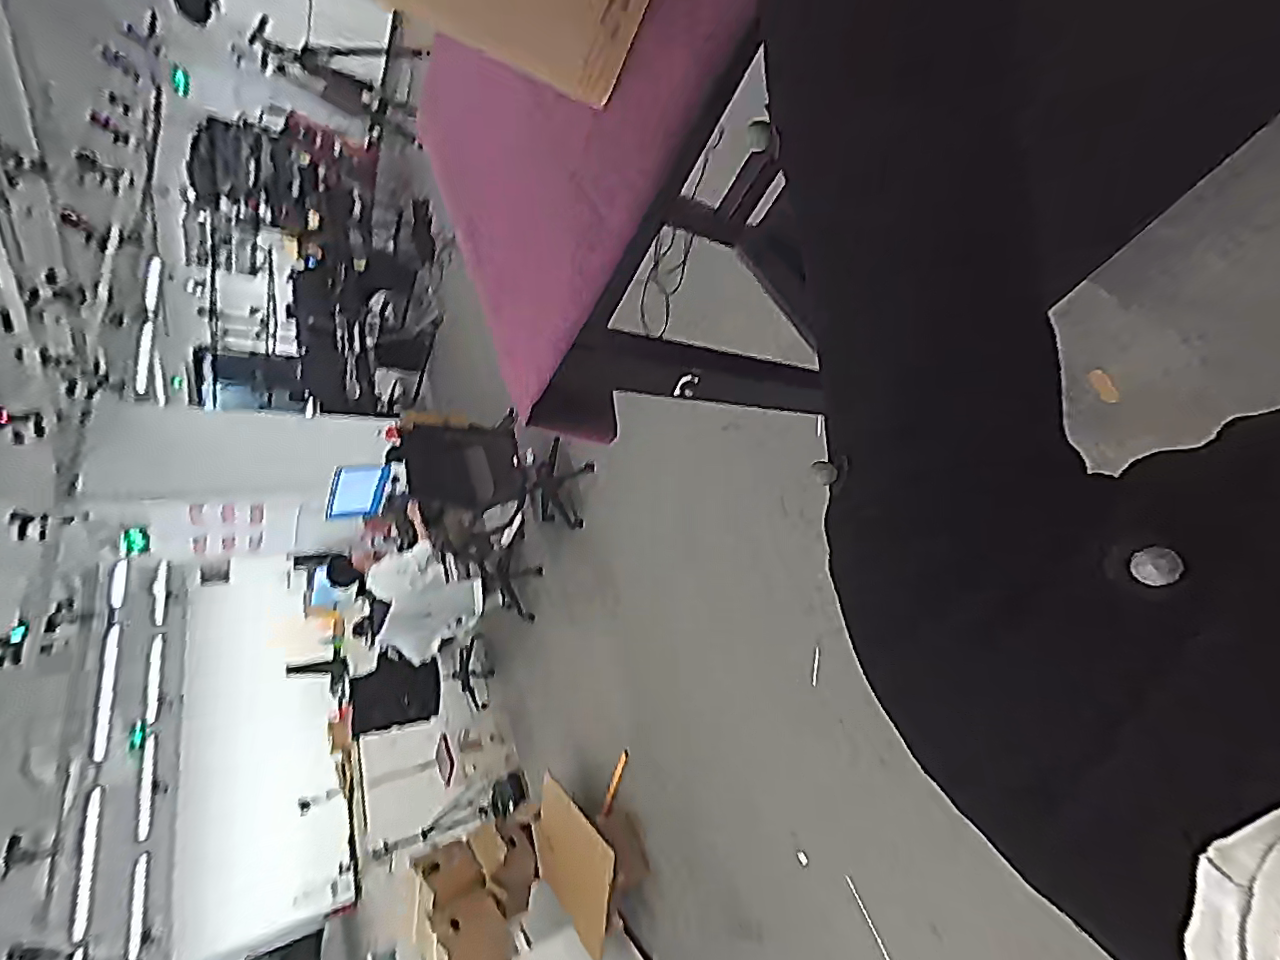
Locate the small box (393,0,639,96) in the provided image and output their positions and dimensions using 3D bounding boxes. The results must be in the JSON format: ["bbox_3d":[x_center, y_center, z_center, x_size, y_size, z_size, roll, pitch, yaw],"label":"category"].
[{"bbox_3d":[-0.090,-0.402,0.359,0.168,0.176,0.179,-53,49,39],"label":"small box"}]
